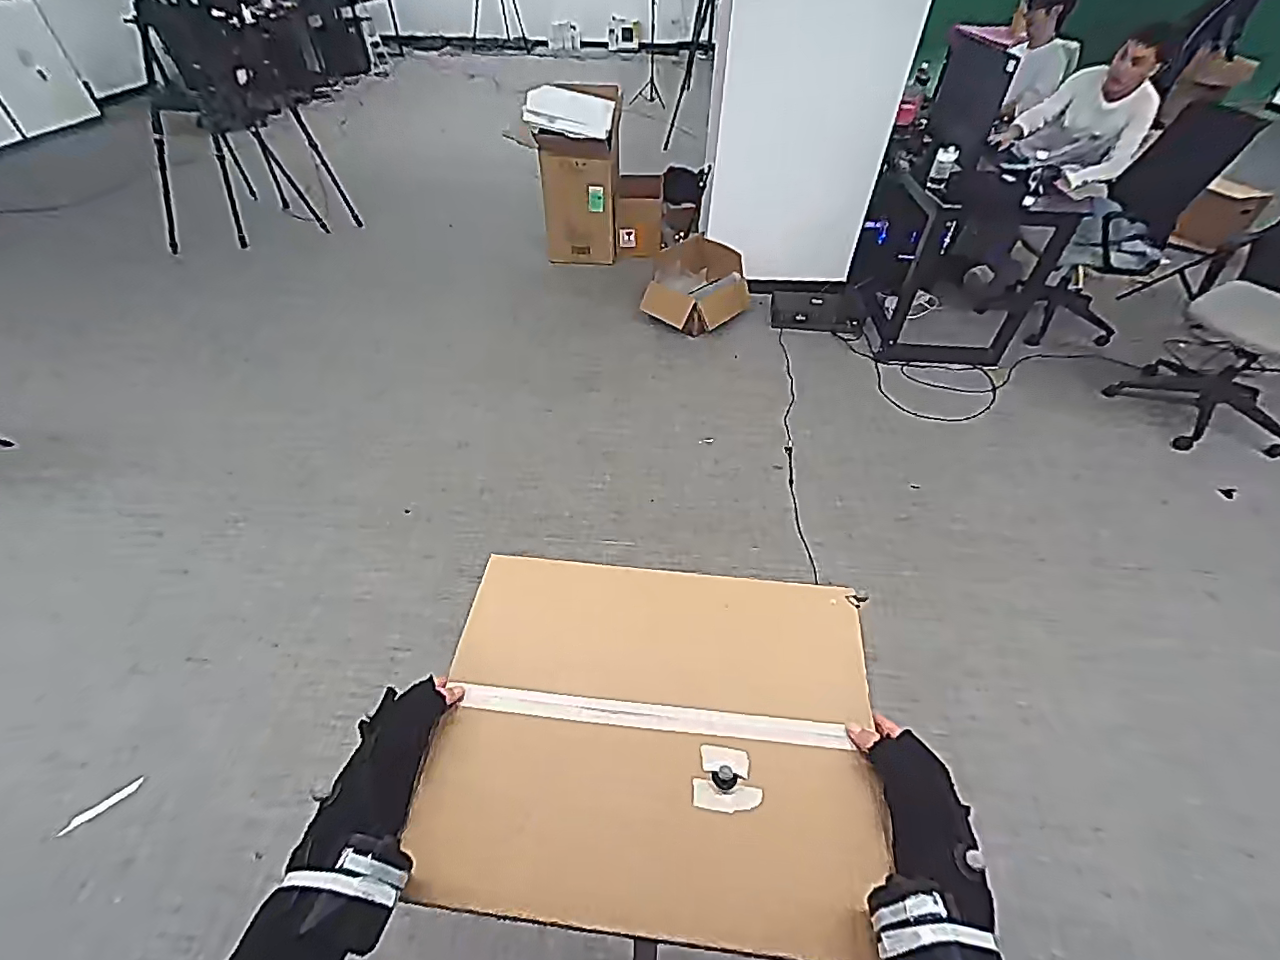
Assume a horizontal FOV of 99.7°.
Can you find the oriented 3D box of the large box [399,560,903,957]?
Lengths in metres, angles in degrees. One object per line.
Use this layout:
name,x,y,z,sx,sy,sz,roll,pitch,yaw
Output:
large box,0.016,0.319,0.625,0.408,0.320,0.320,5,51,4
